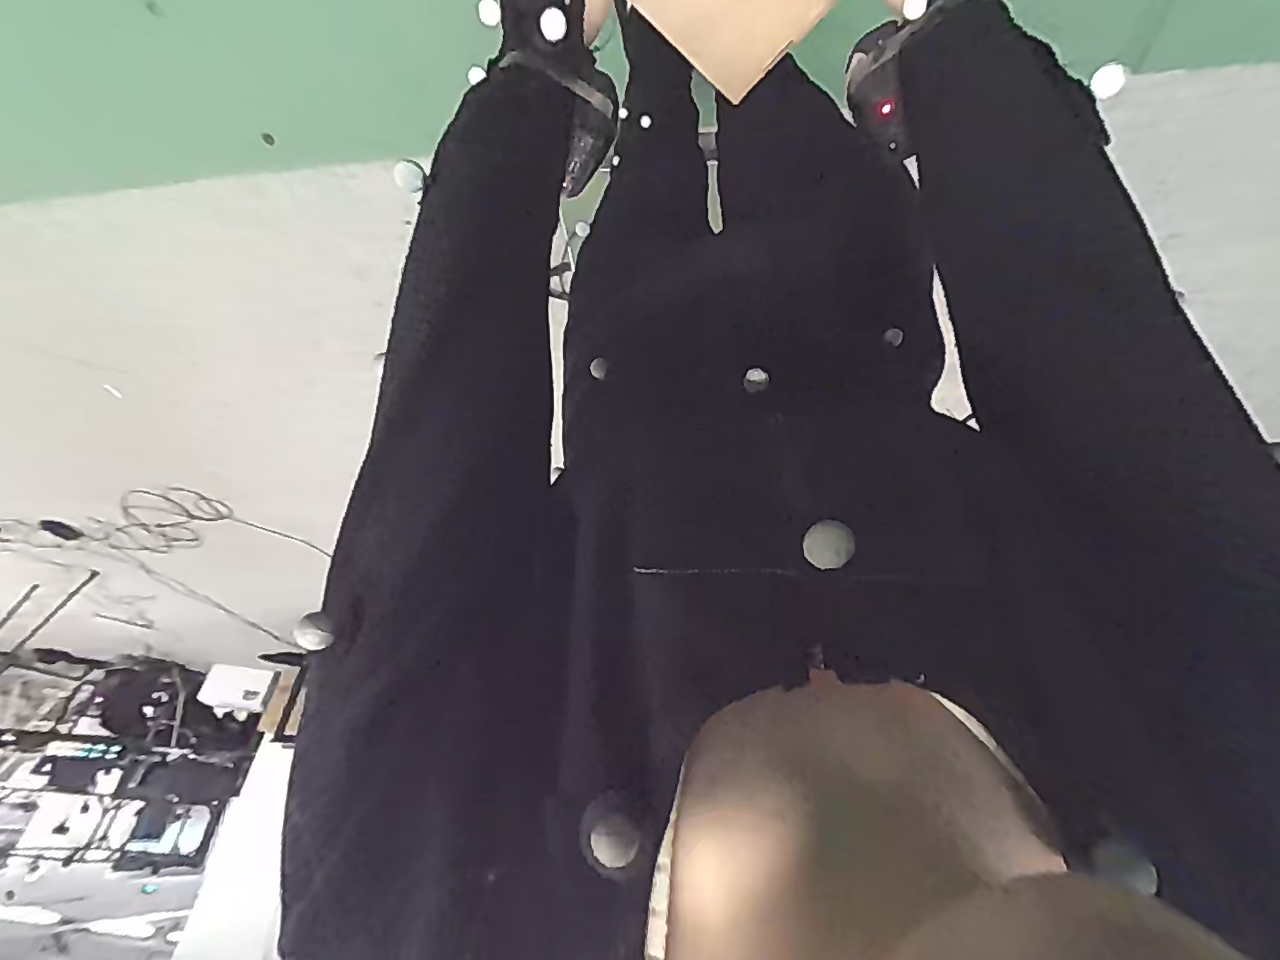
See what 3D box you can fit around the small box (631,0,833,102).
[{"bbox_3d":[0.066,-0.440,0.387,0.179,0.176,0.168,20,146,-35],"label":"small box"}]
